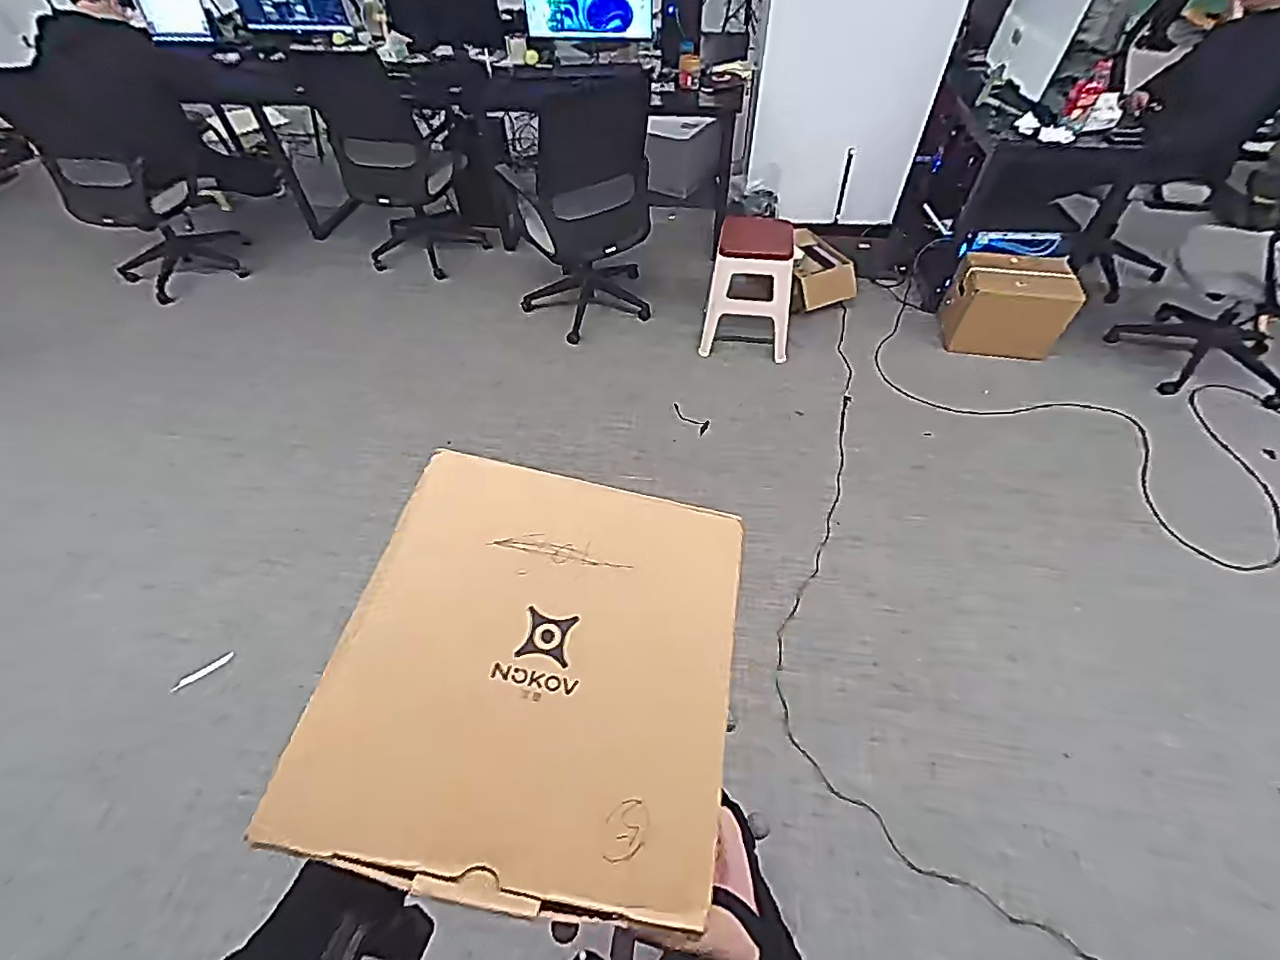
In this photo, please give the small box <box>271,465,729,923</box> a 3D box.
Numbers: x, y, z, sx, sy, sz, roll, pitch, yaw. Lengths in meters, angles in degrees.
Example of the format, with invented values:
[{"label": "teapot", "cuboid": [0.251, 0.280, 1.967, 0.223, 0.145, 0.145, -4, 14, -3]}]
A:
[{"label": "small box", "cuboid": [-0.055, 0.122, 0.314, 0.168, 0.176, 0.179, 13, 55, -2]}]
